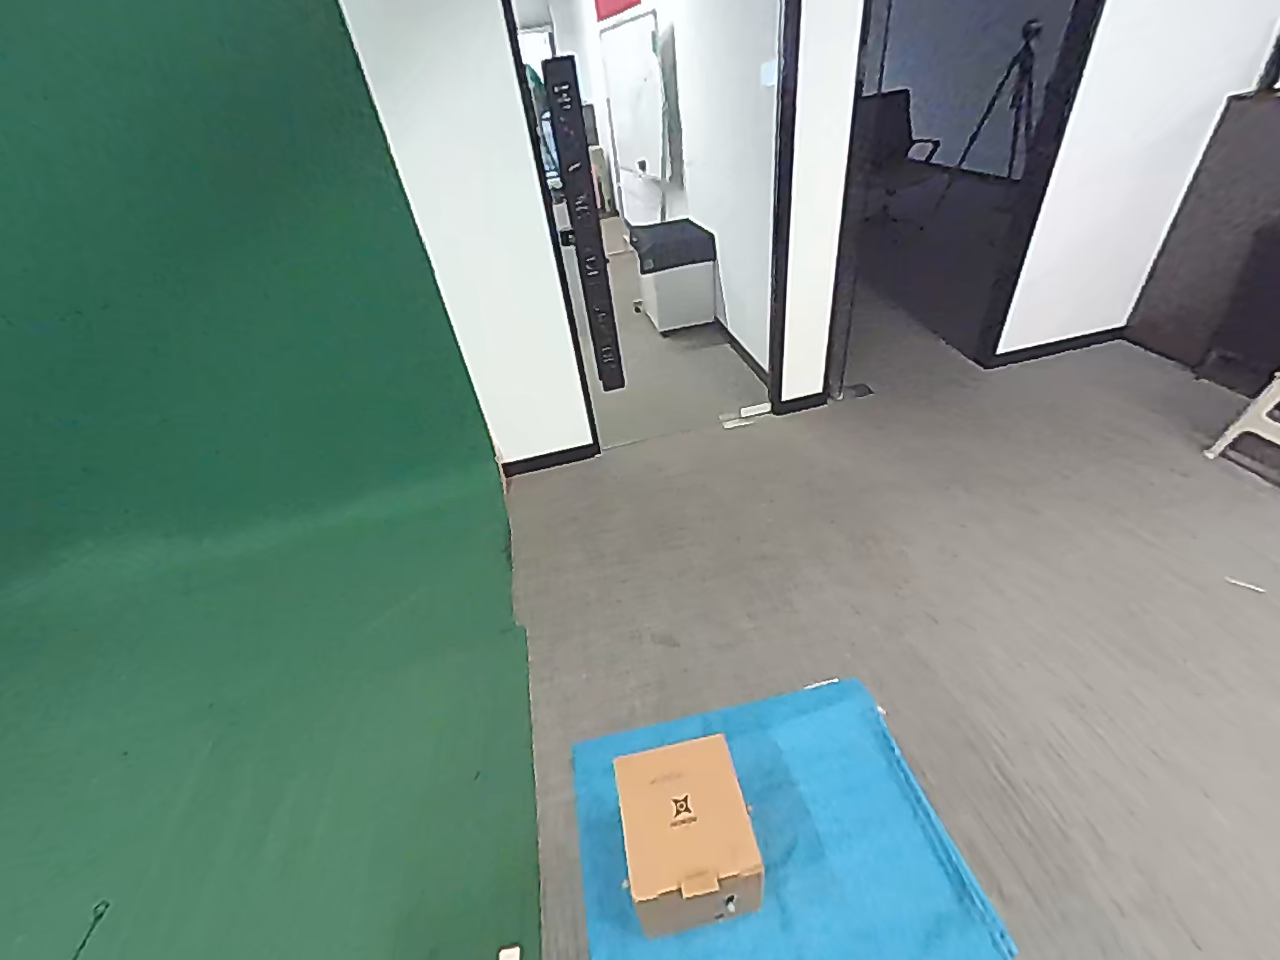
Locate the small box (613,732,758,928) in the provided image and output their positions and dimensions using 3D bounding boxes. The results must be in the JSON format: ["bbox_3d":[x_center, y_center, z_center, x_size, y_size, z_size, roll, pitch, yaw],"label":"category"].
[{"bbox_3d":[0.061,0.492,0.757,0.168,0.176,0.179,-9,37,-4],"label":"small box"}]
